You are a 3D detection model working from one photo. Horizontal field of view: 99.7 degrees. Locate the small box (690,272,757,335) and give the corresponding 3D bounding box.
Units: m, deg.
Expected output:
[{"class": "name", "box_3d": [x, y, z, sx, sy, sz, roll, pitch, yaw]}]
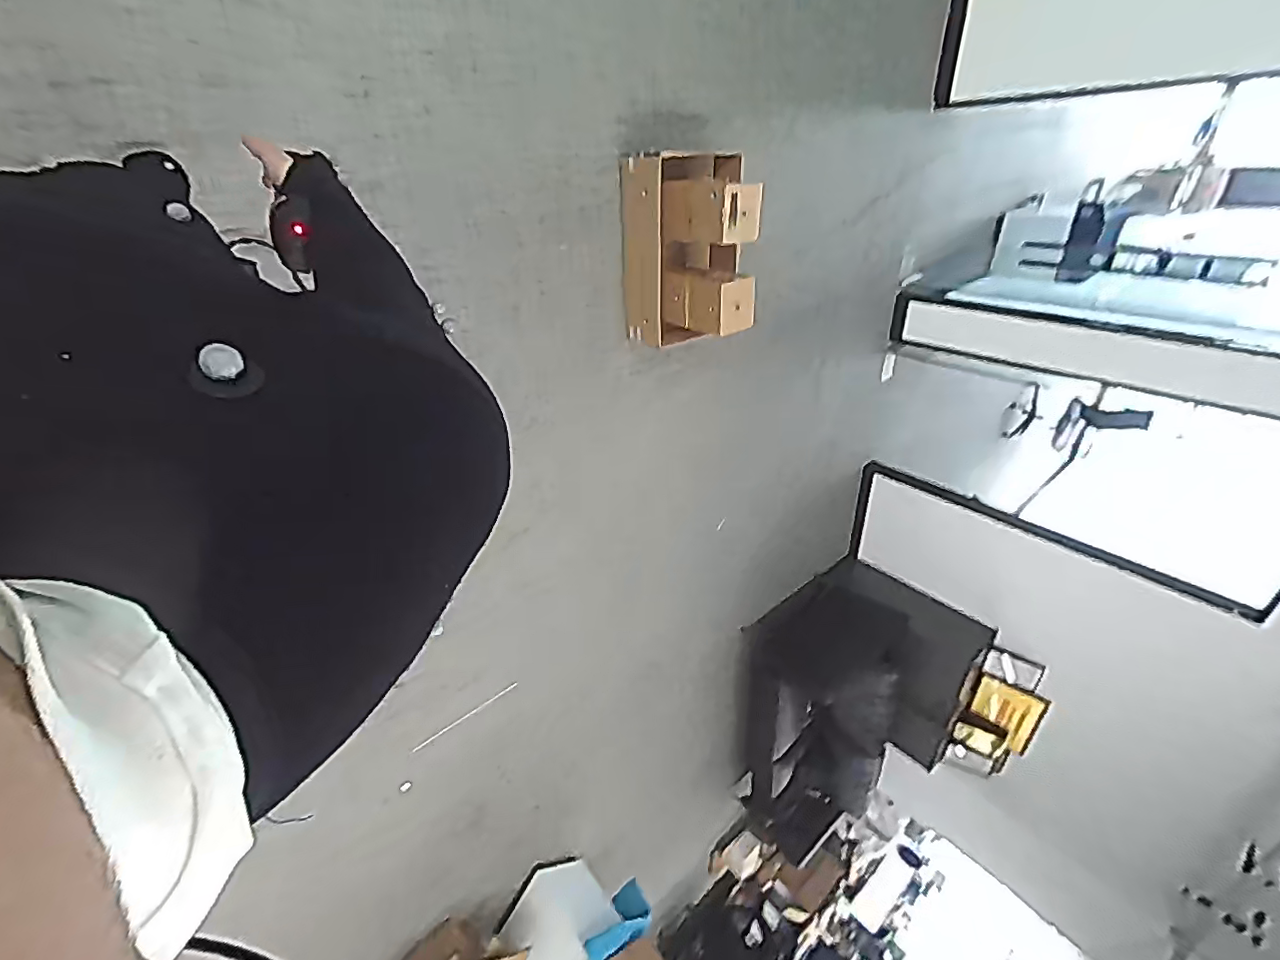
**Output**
[{"class": "small box", "box_3d": [0.287, -0.623, 1.889, 0.168, 0.176, 0.179, -25, 128, -30]}]
